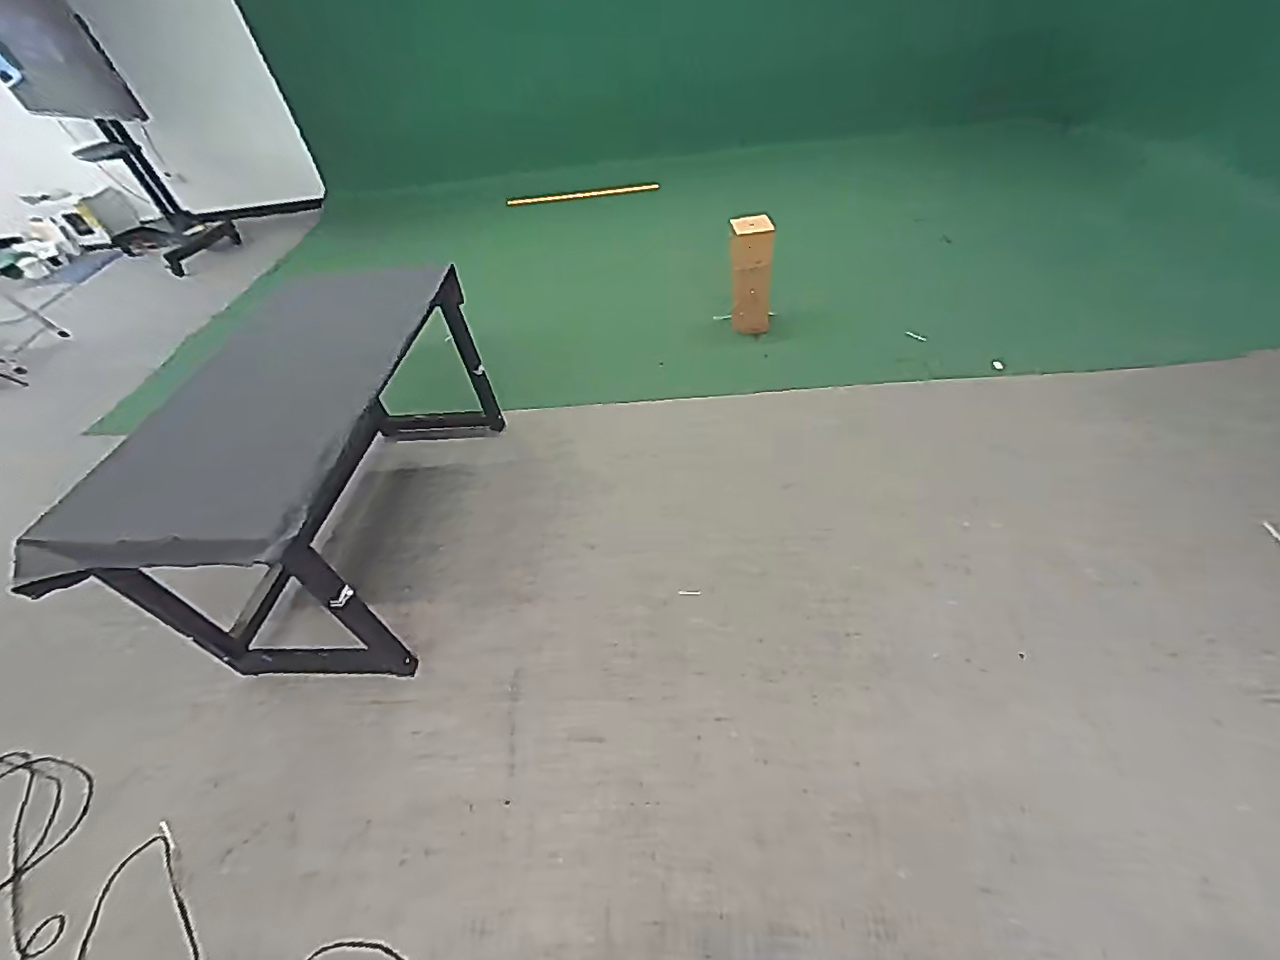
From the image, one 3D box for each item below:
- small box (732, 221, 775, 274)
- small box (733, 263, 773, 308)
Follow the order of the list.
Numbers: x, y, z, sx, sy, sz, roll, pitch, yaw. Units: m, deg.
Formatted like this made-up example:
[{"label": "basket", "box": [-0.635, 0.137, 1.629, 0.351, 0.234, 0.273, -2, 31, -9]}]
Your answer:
[{"label": "small box", "box": [0.520, -1.059, 2.478, 0.168, 0.176, 0.179, -7, 44, 3]}, {"label": "small box", "box": [0.538, -0.949, 2.596, 0.168, 0.176, 0.179, -5, 45, 5]}]
